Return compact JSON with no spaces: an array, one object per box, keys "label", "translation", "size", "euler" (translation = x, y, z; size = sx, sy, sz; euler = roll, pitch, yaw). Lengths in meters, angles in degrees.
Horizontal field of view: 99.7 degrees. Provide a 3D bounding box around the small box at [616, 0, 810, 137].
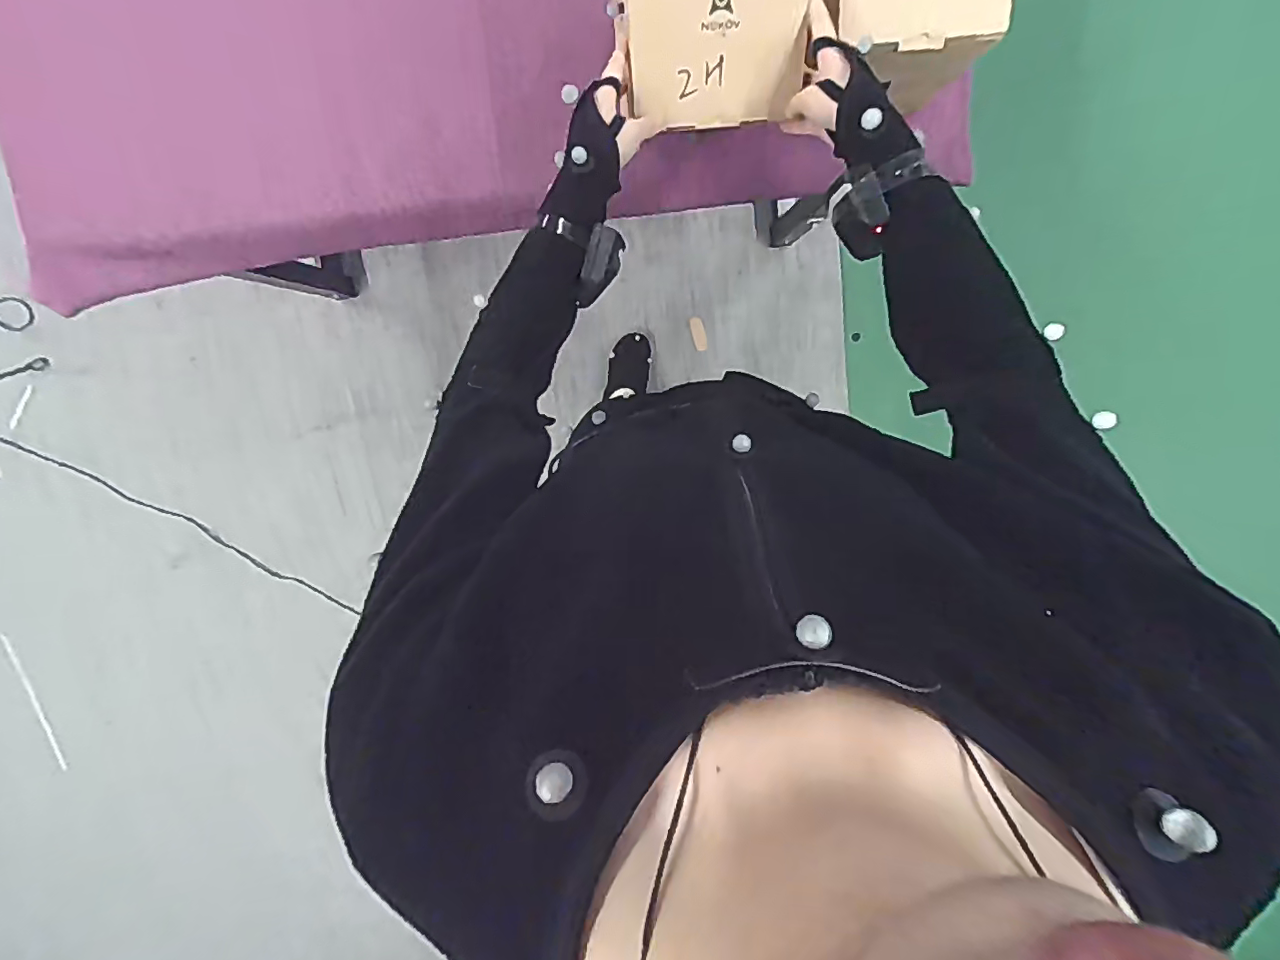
[{"label":"small box","translation":[0.064,-0.457,0.549],"size":[0.168,0.176,0.179],"euler":[-5,125,-2]}]
